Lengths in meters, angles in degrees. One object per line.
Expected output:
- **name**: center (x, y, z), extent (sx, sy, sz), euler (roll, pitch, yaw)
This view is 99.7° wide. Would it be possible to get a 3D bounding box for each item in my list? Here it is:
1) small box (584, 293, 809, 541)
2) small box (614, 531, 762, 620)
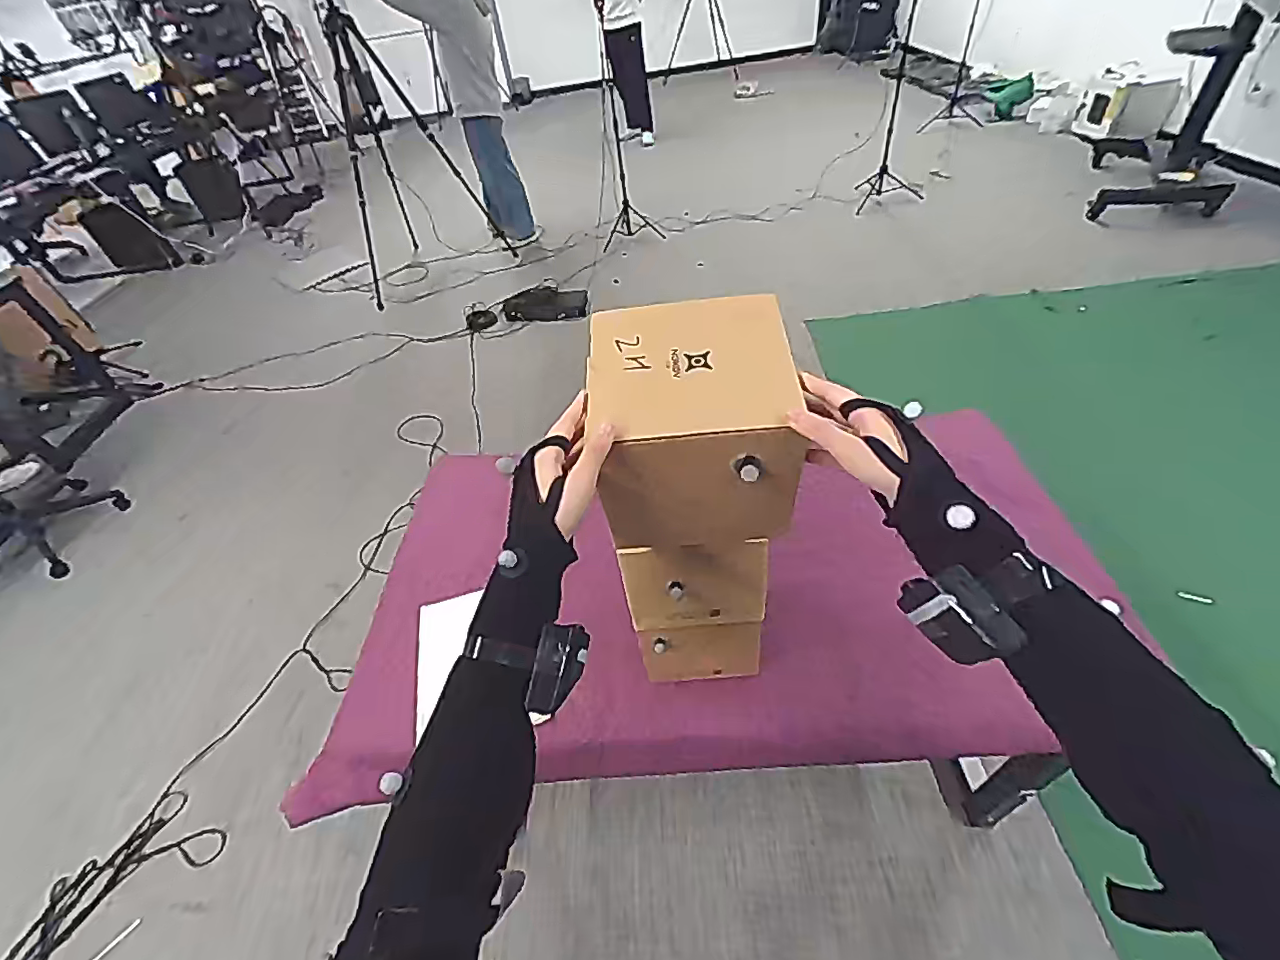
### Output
- **small box**: center (0.050, -0.054, 0.525), extent (0.179, 0.176, 0.168), euler (-5, 53, 5)
- **small box**: center (0.063, 0.068, 0.700), extent (0.168, 0.176, 0.179), euler (-5, 43, 5)
